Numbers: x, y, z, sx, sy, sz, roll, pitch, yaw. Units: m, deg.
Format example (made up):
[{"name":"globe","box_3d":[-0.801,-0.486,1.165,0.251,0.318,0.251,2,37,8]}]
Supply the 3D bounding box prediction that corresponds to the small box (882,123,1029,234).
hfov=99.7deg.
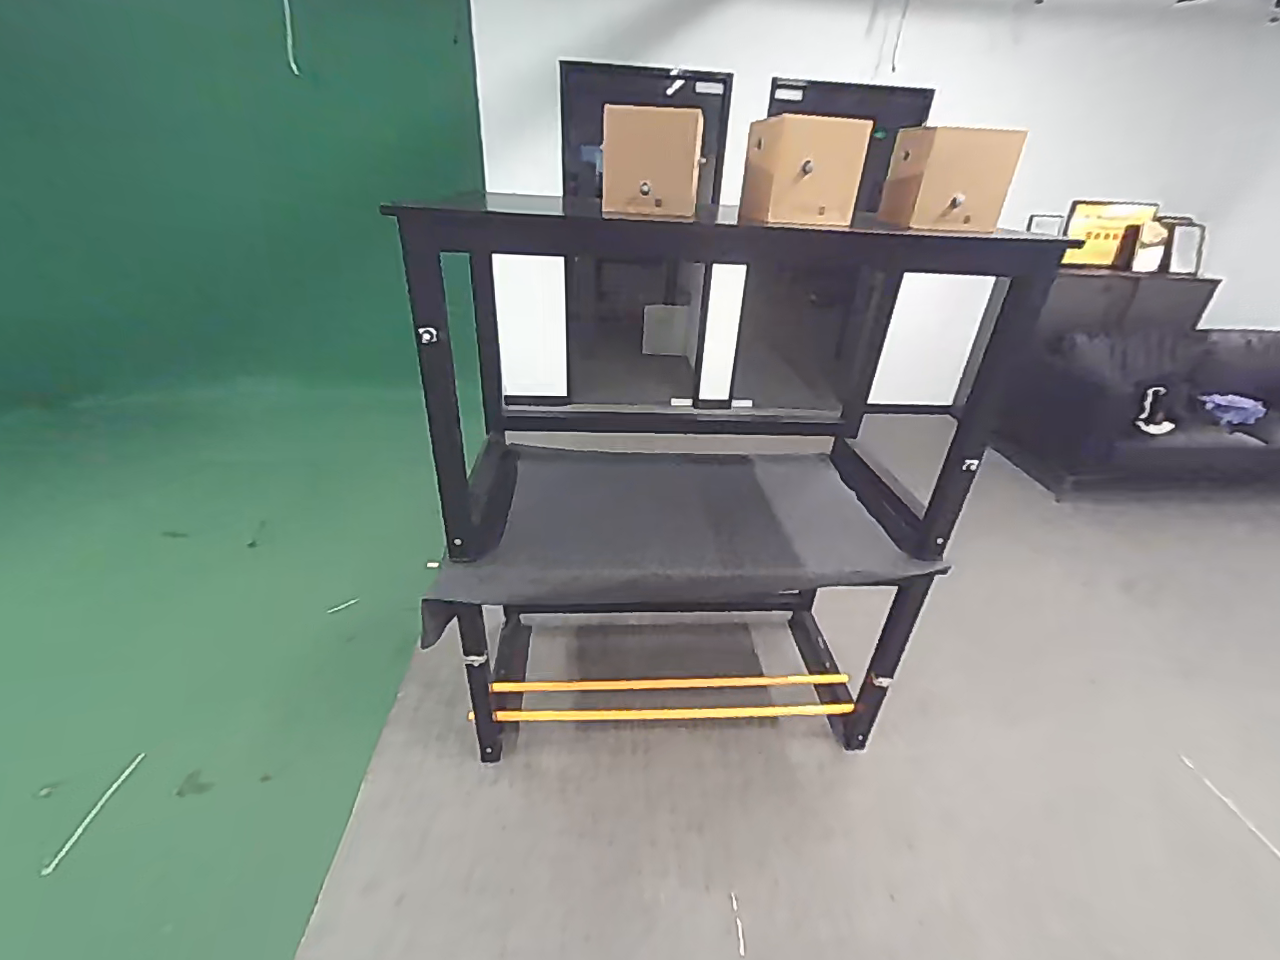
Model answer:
[{"name":"small box","box_3d":[0.597,-0.585,1.053,0.168,0.176,0.179,3,30,0]}]

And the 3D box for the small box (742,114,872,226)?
[{"name":"small box","box_3d":[0.304,-0.581,1.024,0.168,0.176,0.179,-2,29,-9]}]
